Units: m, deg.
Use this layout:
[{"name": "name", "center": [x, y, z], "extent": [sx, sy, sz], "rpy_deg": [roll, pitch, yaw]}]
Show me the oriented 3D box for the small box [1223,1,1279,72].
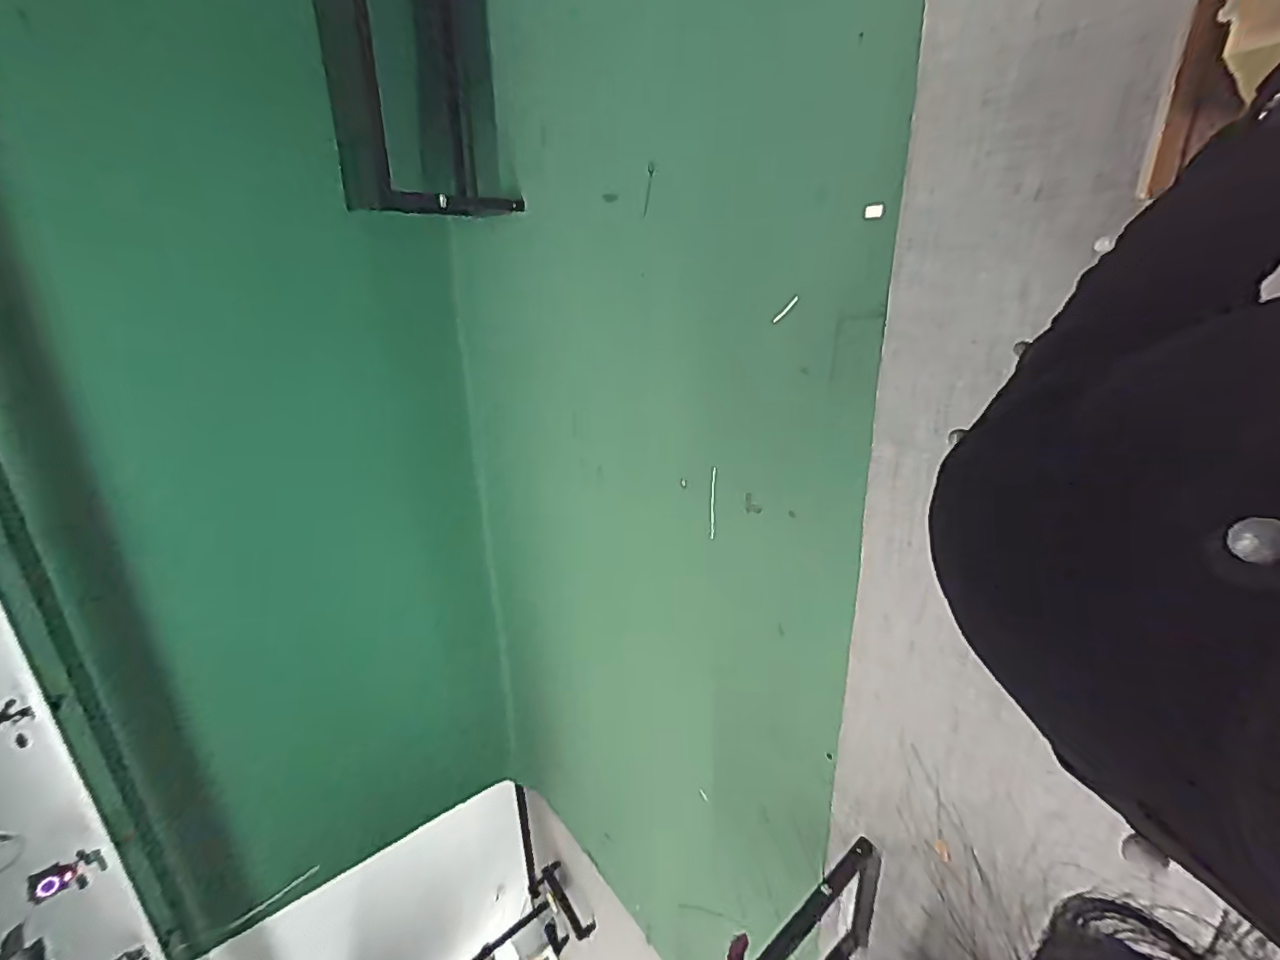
[{"name": "small box", "center": [0.642, -0.471, 0.449], "extent": [0.168, 0.176, 0.179], "rpy_deg": [22, 119, 49]}]
